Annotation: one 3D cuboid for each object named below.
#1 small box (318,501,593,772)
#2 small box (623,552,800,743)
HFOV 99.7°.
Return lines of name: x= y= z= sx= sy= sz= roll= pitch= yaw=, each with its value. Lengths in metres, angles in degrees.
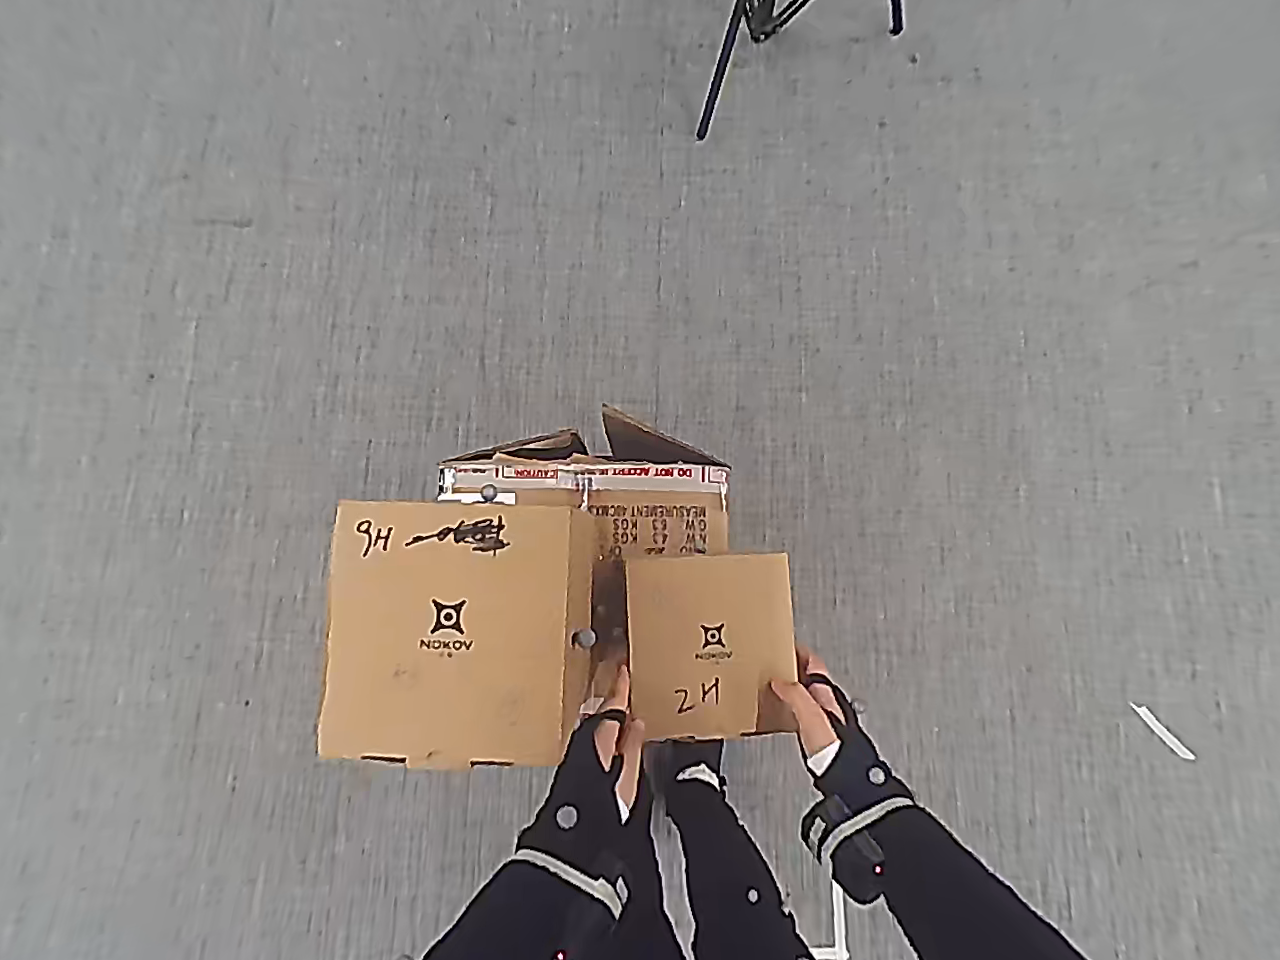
small box: x=-0.130 y=0.110 z=0.444 sx=0.168 sy=0.176 sz=0.179 roll=2 pitch=85 yaw=1
small box: x=0.066 y=0.171 z=0.605 sx=0.168 sy=0.176 sz=0.179 roll=-2 pitch=84 yaw=-3
